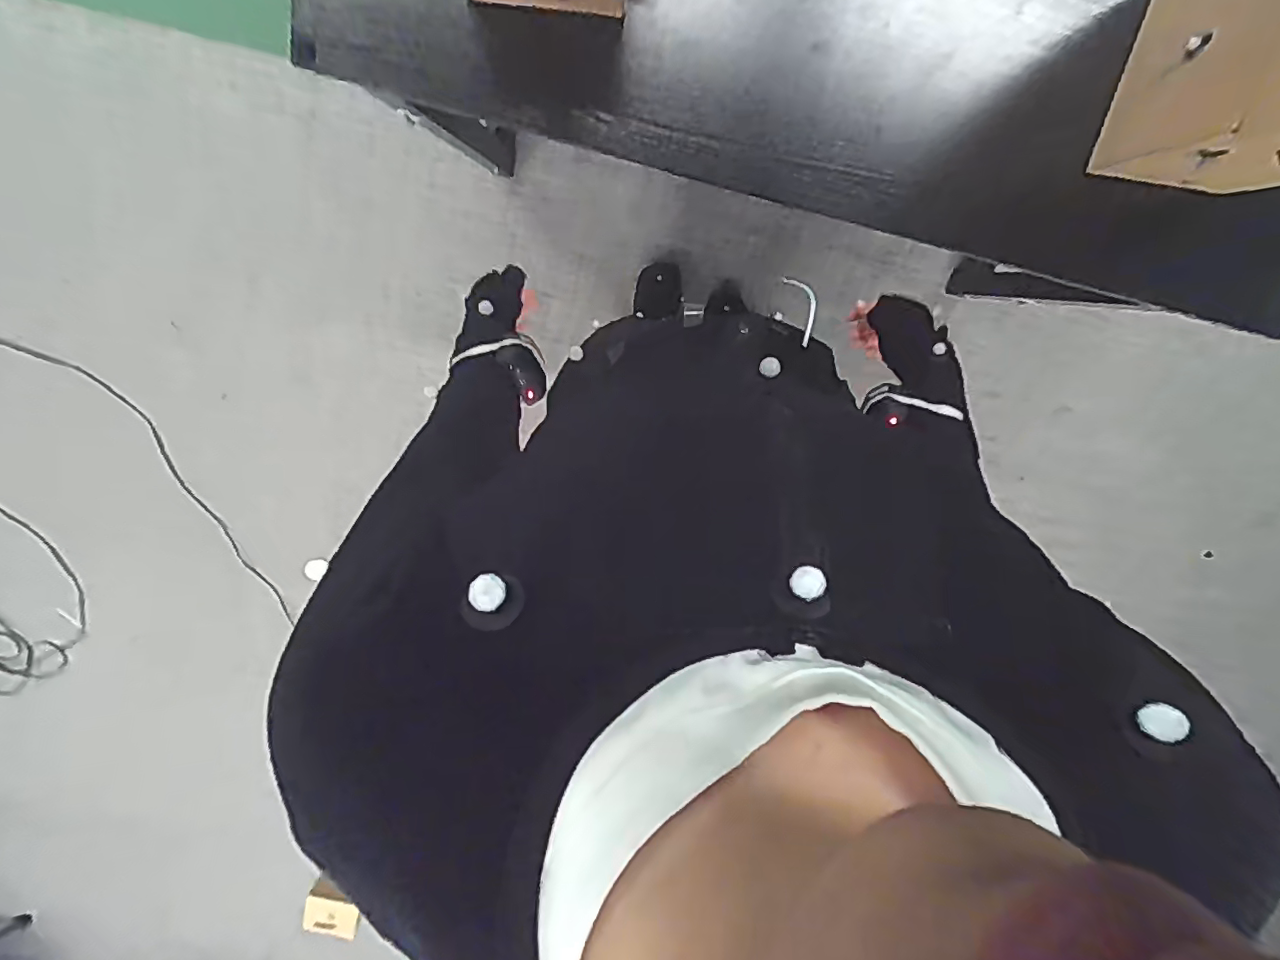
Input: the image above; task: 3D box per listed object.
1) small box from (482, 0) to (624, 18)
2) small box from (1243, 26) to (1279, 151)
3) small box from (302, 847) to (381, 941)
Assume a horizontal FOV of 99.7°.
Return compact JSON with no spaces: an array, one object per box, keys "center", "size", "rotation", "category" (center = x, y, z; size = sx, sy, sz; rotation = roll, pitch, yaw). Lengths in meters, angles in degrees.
[{"center":[-0.089,-0.543,0.457],"size":[0.168,0.176,0.179],"rotation":[5,112,-2],"category":"small box"},{"center":[0.583,-0.328,0.353],"size":[0.168,0.176,0.179],"rotation":[6,110,-1],"category":"small box"},{"center":[-0.987,1.372,1.795],"size":[0.168,0.176,0.179],"rotation":[16,110,-5],"category":"small box"}]
